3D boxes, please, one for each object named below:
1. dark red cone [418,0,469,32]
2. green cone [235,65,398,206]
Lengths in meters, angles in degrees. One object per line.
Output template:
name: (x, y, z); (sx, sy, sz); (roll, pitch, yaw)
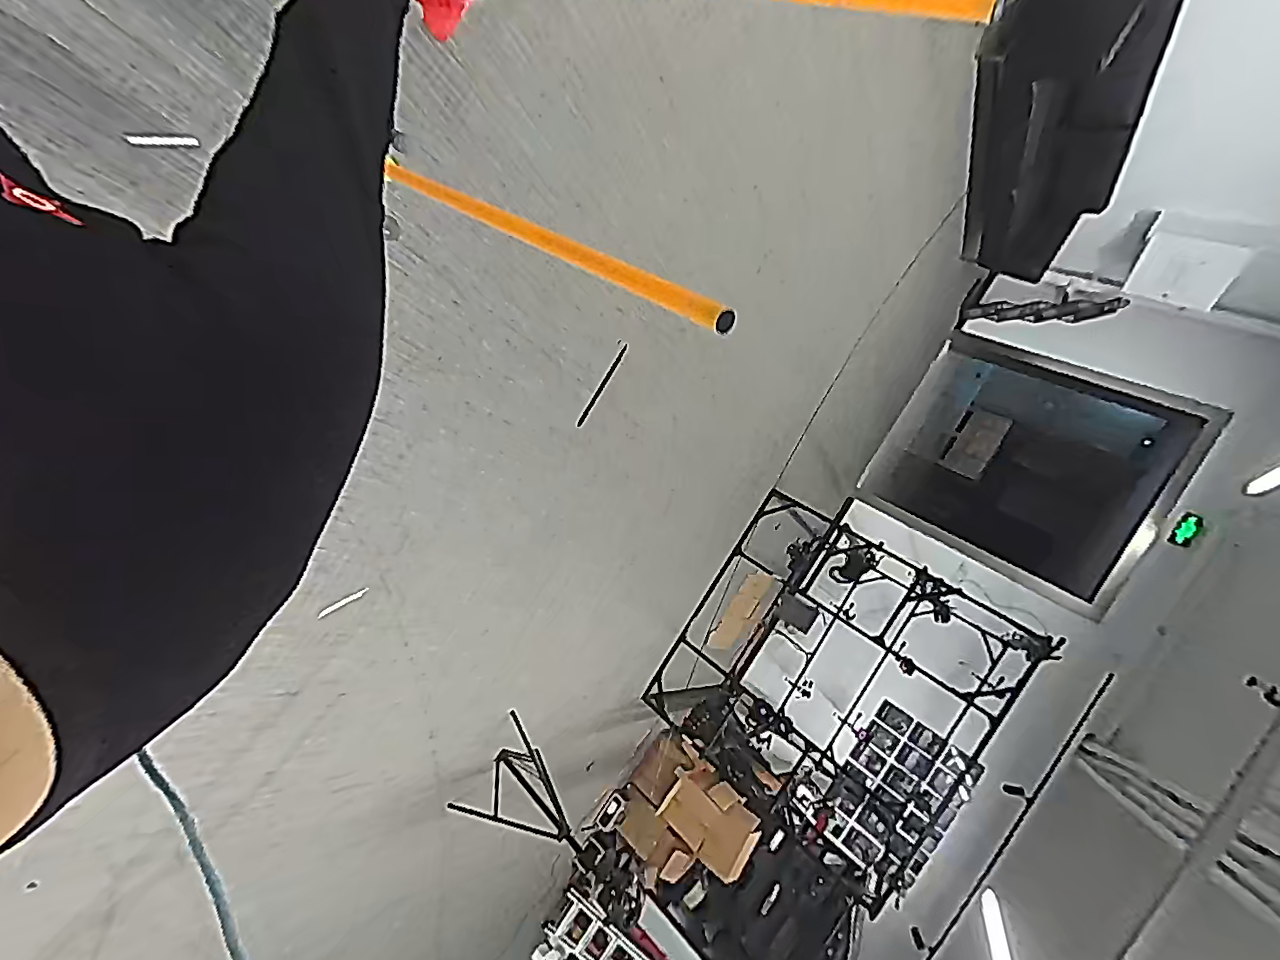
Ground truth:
dark red cone: (-0.319, -1.052, 1.080); (0.202, 0.394, 0.201); (-58, 151, 1)
green cone: (-0.597, -0.654, 1.077); (0.200, 0.368, 0.202); (-56, 150, -3)
